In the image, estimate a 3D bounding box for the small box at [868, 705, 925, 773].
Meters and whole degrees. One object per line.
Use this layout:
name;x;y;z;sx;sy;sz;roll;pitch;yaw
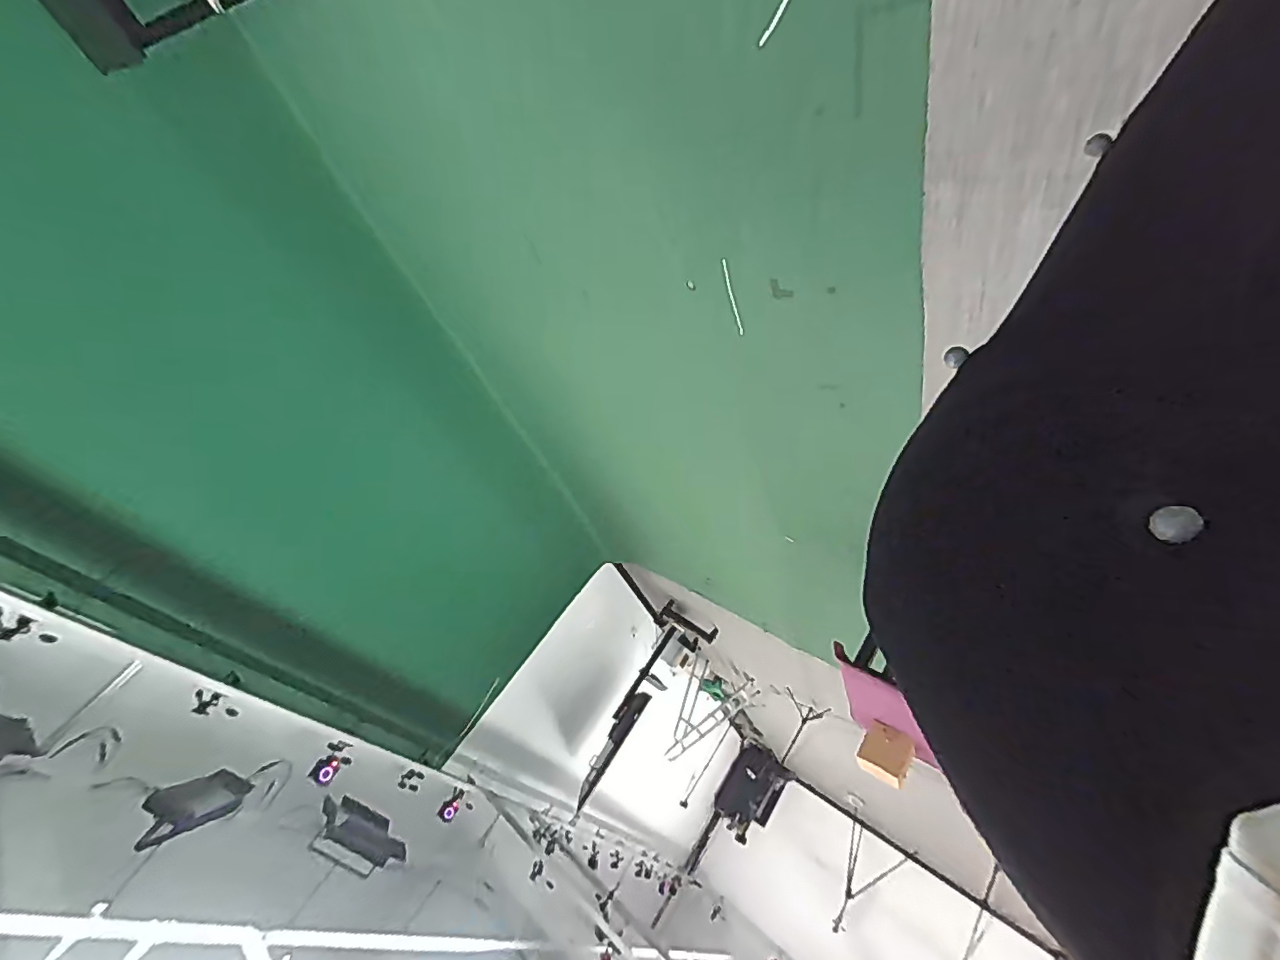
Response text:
small box;1.060;1.065;2.226;0.168;0.176;0.179;18;151;39
